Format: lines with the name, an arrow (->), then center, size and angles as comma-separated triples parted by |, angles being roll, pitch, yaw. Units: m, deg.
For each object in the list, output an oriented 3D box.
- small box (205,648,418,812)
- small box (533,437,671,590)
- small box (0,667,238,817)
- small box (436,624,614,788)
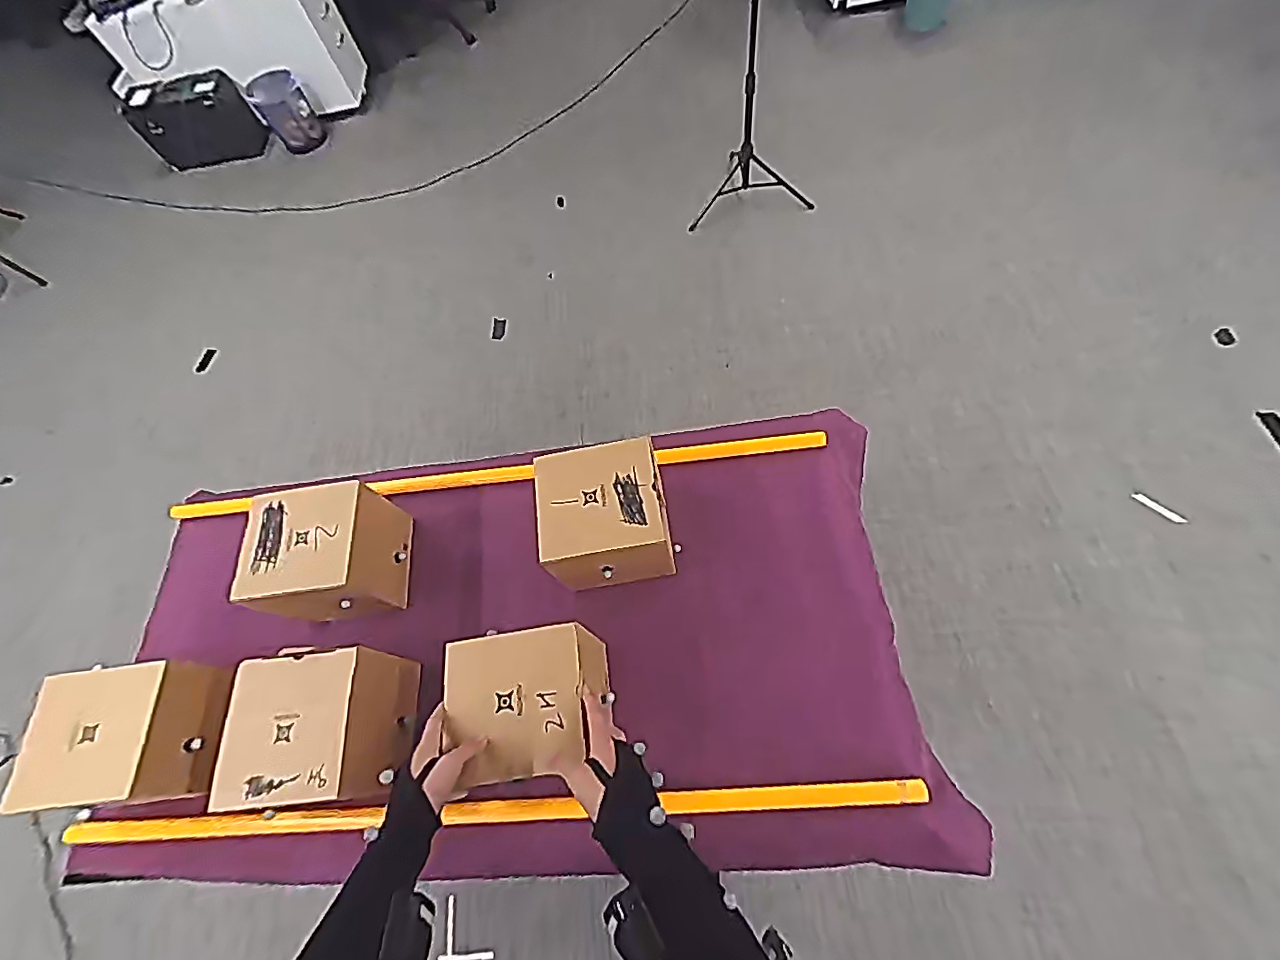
small box -> -0.425, 0.340, 0.736 | 0.168, 0.176, 0.179 | -9, 62, 6
small box -> -0.051, 0.058, 0.818 | 0.179, 0.176, 0.168 | -11, 64, 5
small box -> -0.702, 0.367, 0.764 | 0.179, 0.176, 0.168 | -8, 62, 4
small box -> -0.142, 0.299, 0.709 | 0.179, 0.176, 0.168 | -10, 63, 5
